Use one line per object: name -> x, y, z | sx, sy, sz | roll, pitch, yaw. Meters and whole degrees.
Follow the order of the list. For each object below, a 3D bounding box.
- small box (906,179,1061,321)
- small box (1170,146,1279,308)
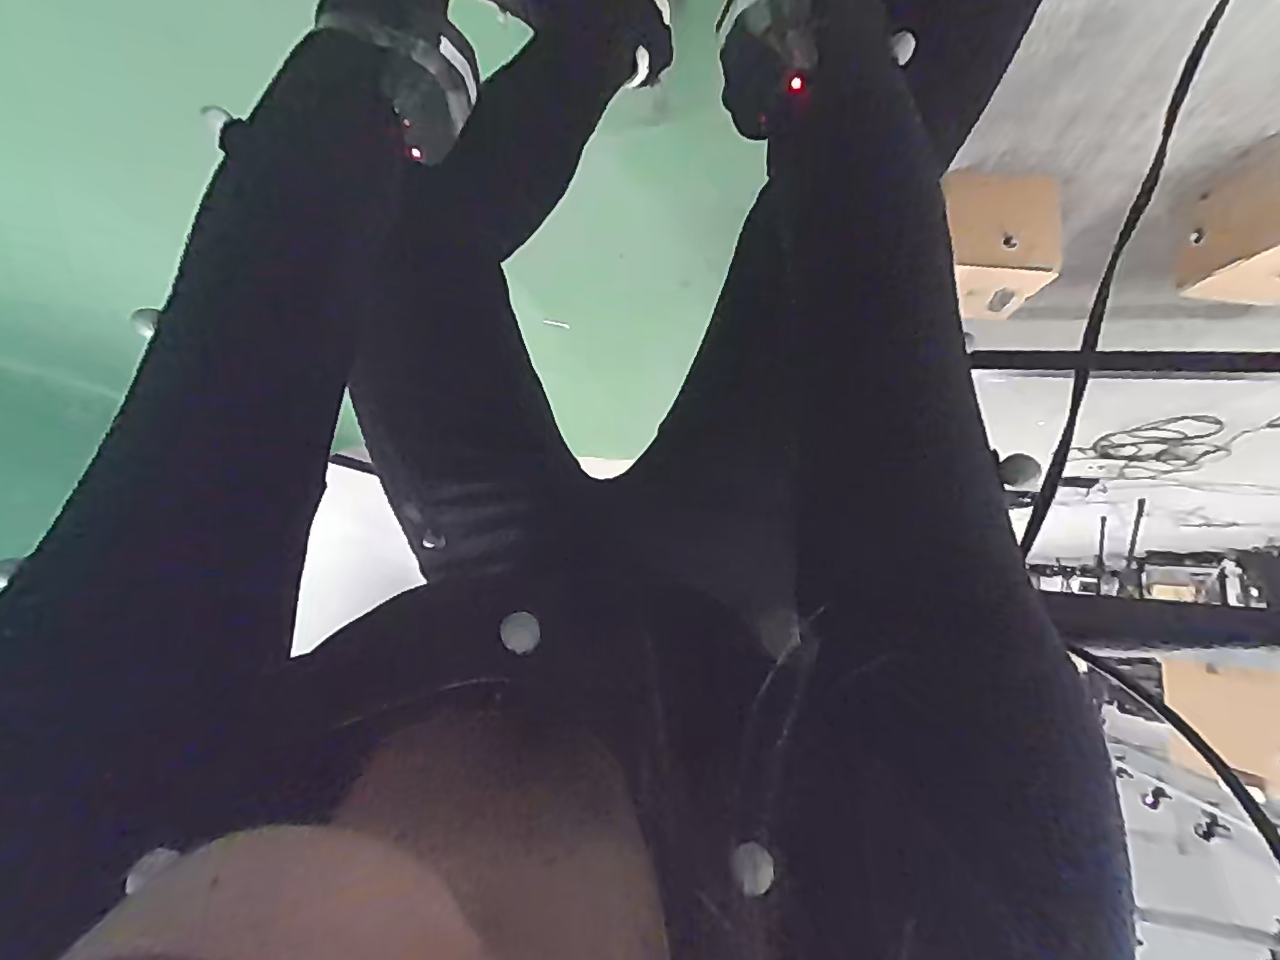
small box -> 0.585, -0.395, 0.941 | 0.179, 0.176, 0.168 | 4, 169, 6
small box -> 0.971, -0.386, 0.824 | 0.179, 0.176, 0.168 | 3, 170, -3
